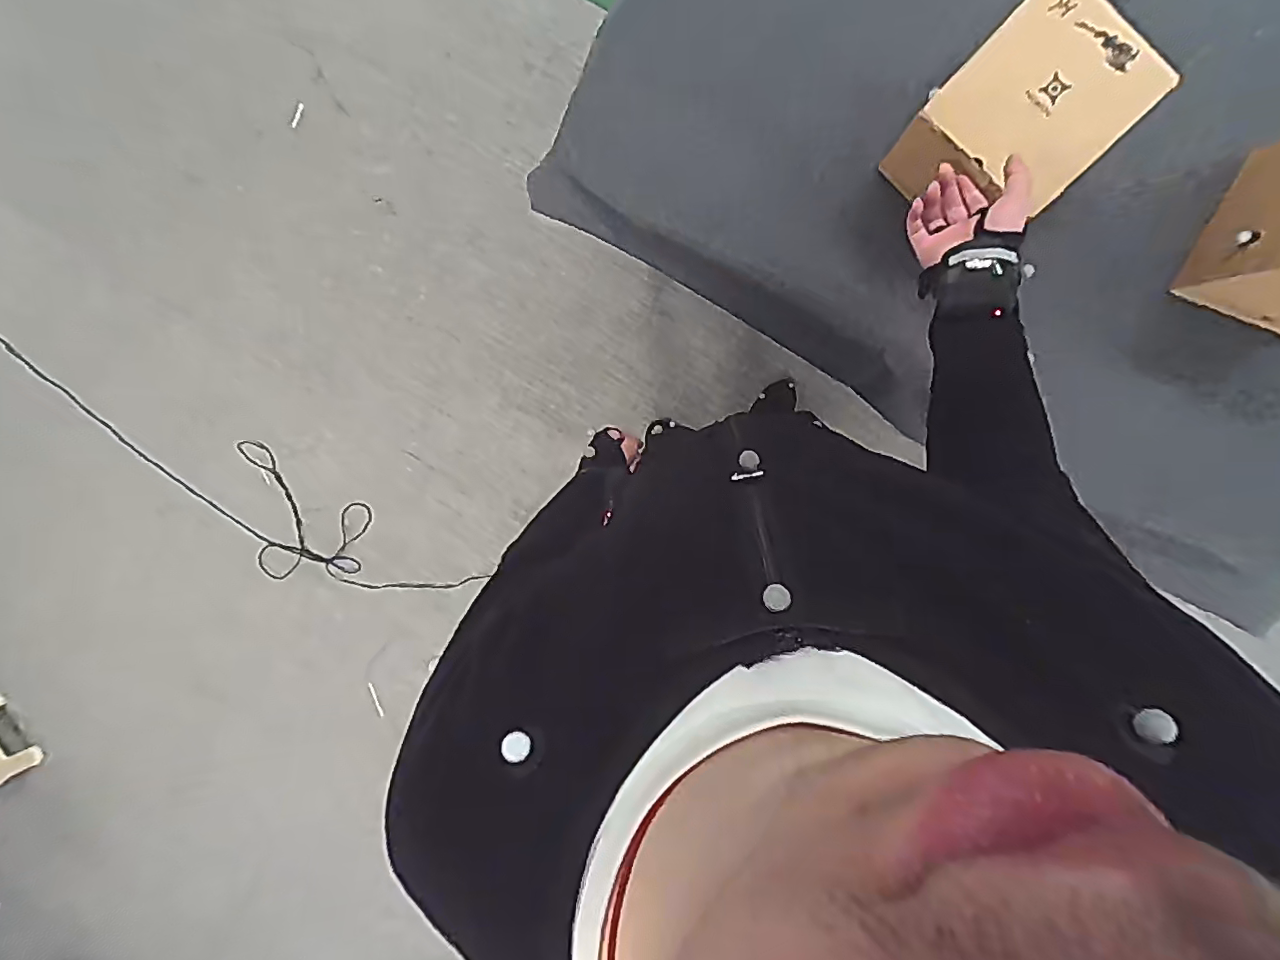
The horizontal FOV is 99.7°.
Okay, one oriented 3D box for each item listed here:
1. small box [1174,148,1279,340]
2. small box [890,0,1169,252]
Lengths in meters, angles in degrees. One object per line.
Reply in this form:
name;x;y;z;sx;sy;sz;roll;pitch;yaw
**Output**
small box;0.767;-0.267;0.598;0.168;0.176;0.179;23;102;3
small box;0.421;-0.398;0.629;0.168;0.176;0.179;45;104;-1
